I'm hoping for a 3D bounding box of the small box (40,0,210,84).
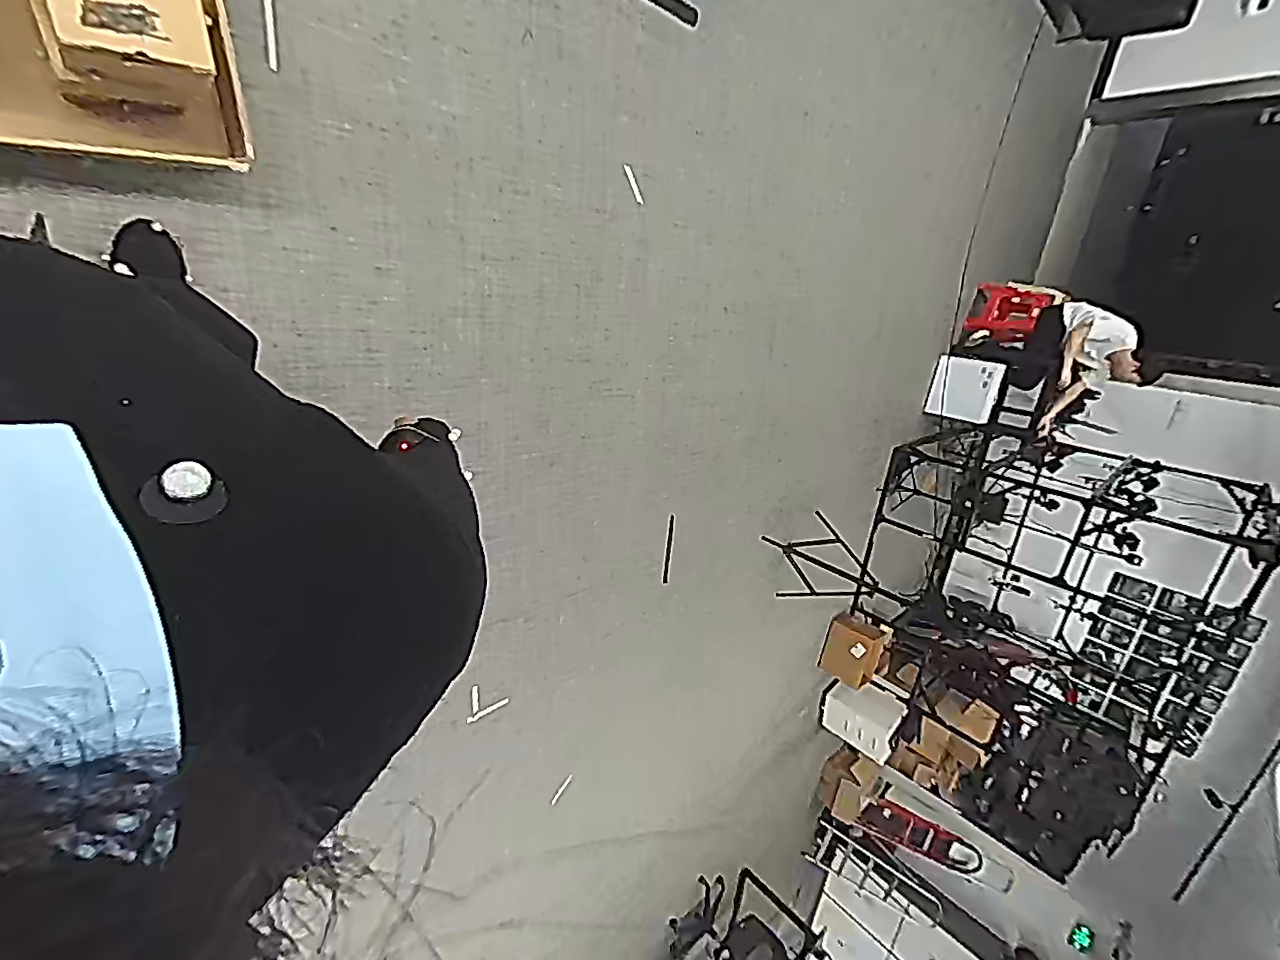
[{"bbox_3d":[-0.729,-0.684,0.755,0.168,0.176,0.179,-17,119,-40],"label":"small box"}]
